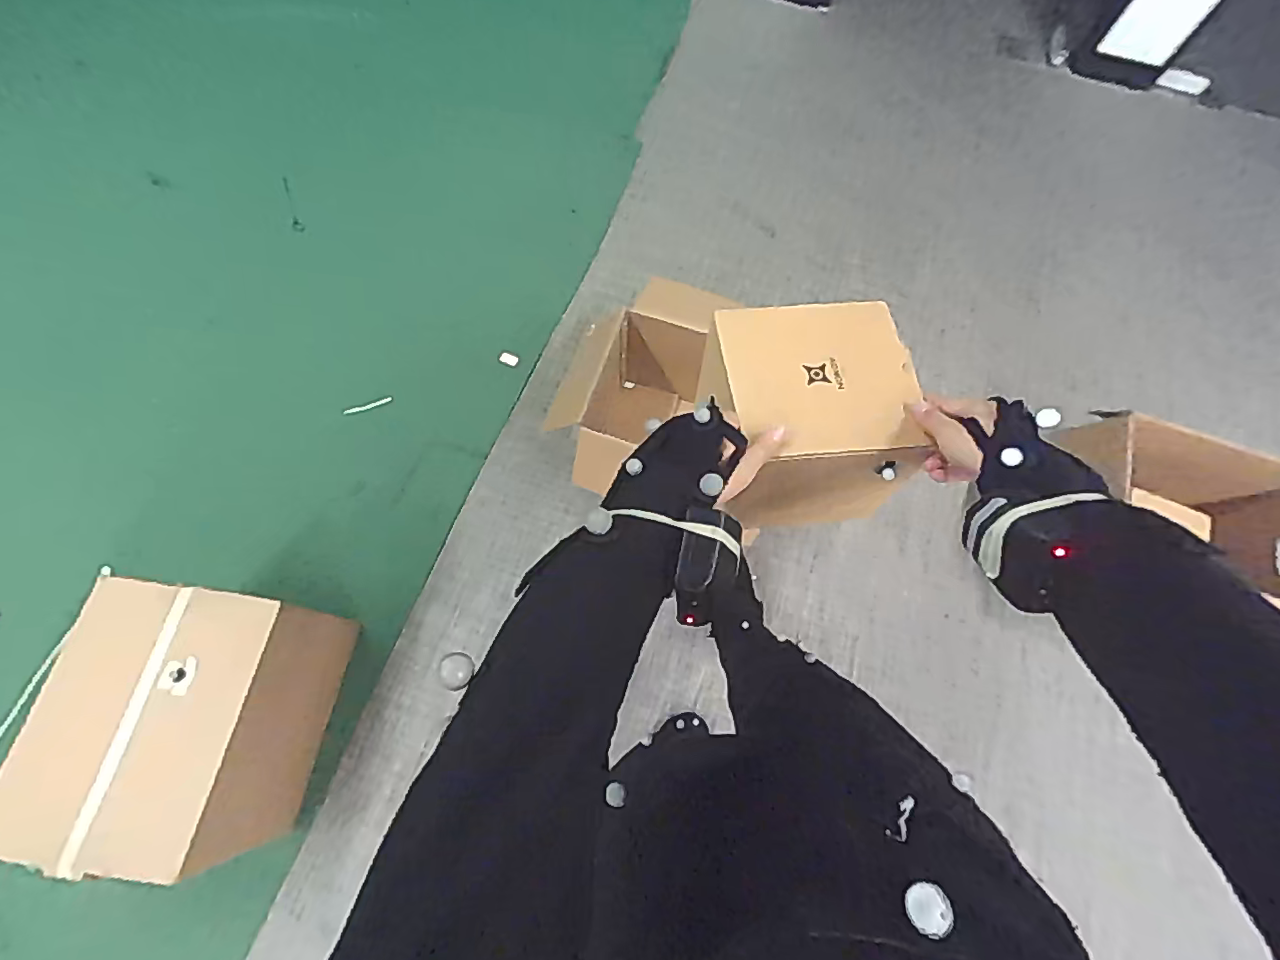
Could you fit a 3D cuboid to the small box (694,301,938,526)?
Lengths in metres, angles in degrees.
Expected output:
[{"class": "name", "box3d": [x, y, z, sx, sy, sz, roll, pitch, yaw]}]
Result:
[{"class": "small box", "box3d": [0.156, -0.059, 0.556, 0.179, 0.176, 0.168, -4, 63, -6]}]
